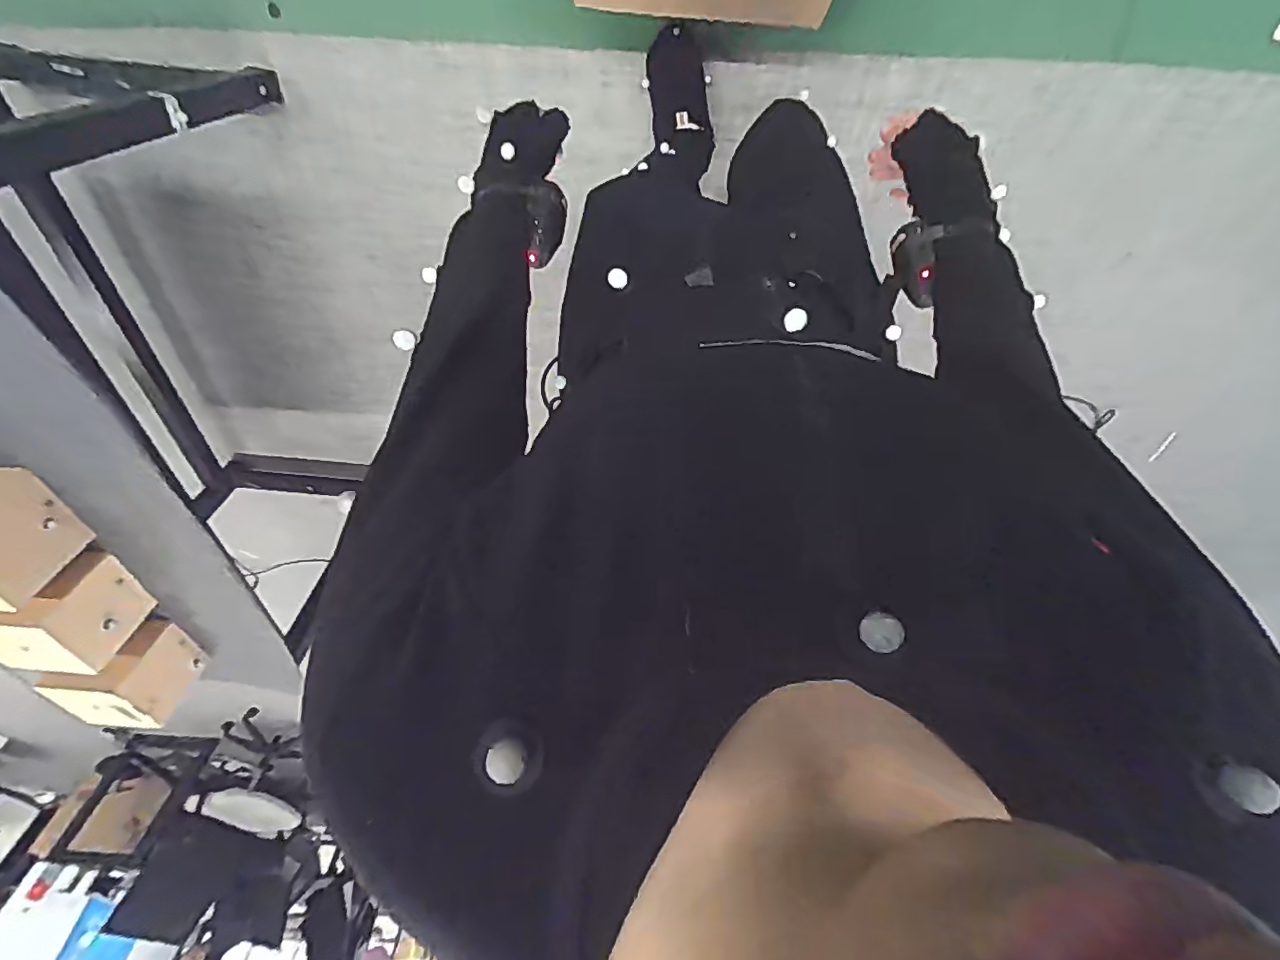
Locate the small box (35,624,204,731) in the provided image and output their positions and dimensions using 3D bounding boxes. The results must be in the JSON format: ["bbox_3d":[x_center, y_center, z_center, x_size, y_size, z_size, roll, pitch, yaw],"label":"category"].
[{"bbox_3d":[-1.105,0.423,1.174,0.179,0.176,0.168,3,132,3],"label":"small box"}]

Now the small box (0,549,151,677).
[{"bbox_3d":[-1.086,0.247,1.017,0.179,0.176,0.168,5,132,1],"label":"small box"}]
